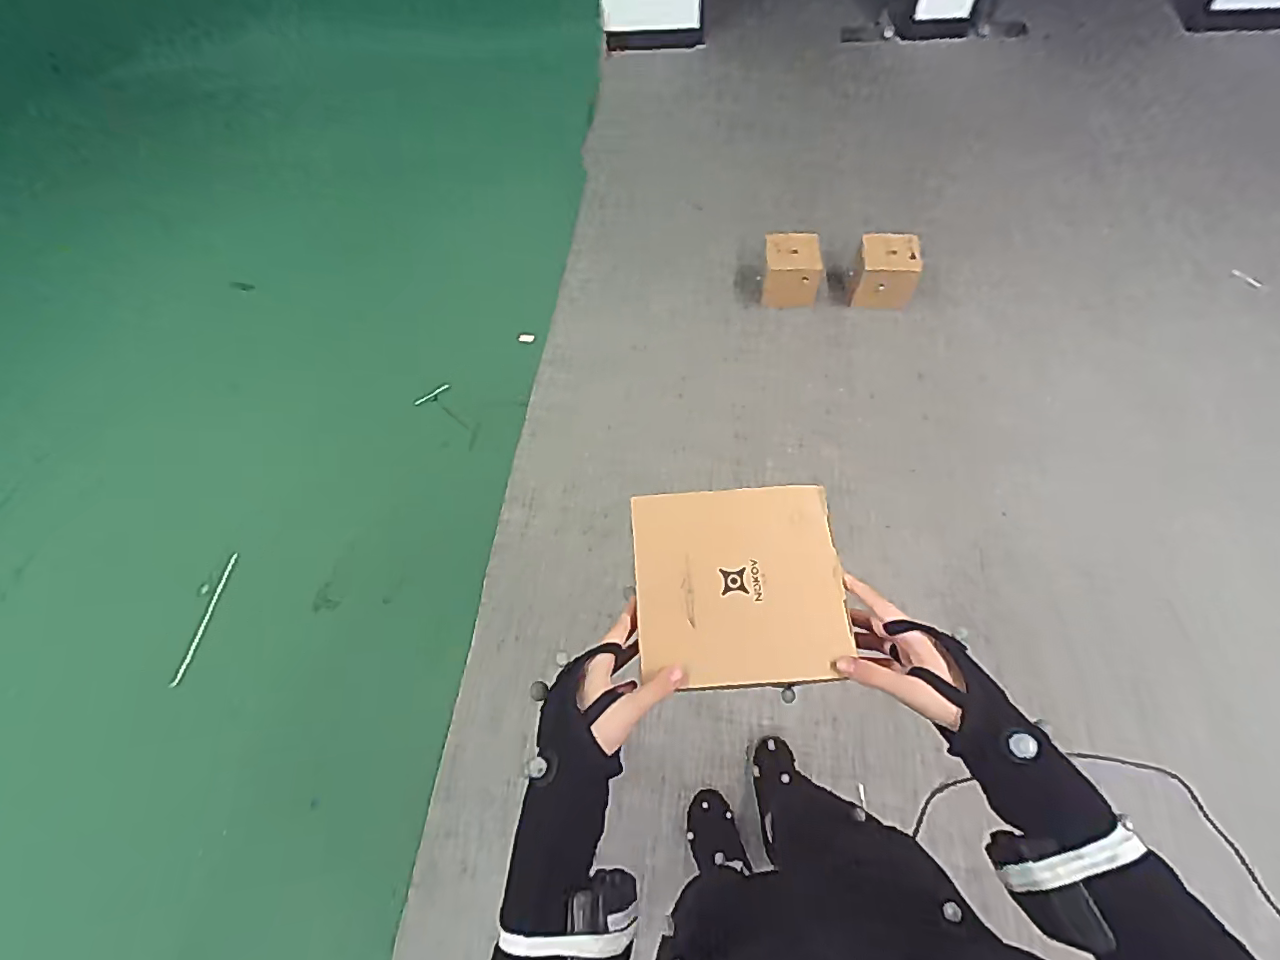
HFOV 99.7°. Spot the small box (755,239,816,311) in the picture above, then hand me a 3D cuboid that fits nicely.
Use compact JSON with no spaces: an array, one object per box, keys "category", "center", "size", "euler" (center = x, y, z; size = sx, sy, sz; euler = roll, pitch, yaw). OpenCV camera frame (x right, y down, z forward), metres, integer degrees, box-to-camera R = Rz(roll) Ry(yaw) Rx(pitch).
[{"category":"small box","center":[0.494,-0.698,1.853],"size":[0.179,0.176,0.168],"euler":[0,63,6]}]

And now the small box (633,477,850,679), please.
[{"category":"small box","center":[0.085,0.107,0.544],"size":[0.179,0.176,0.168],"euler":[-4,67,1]}]
